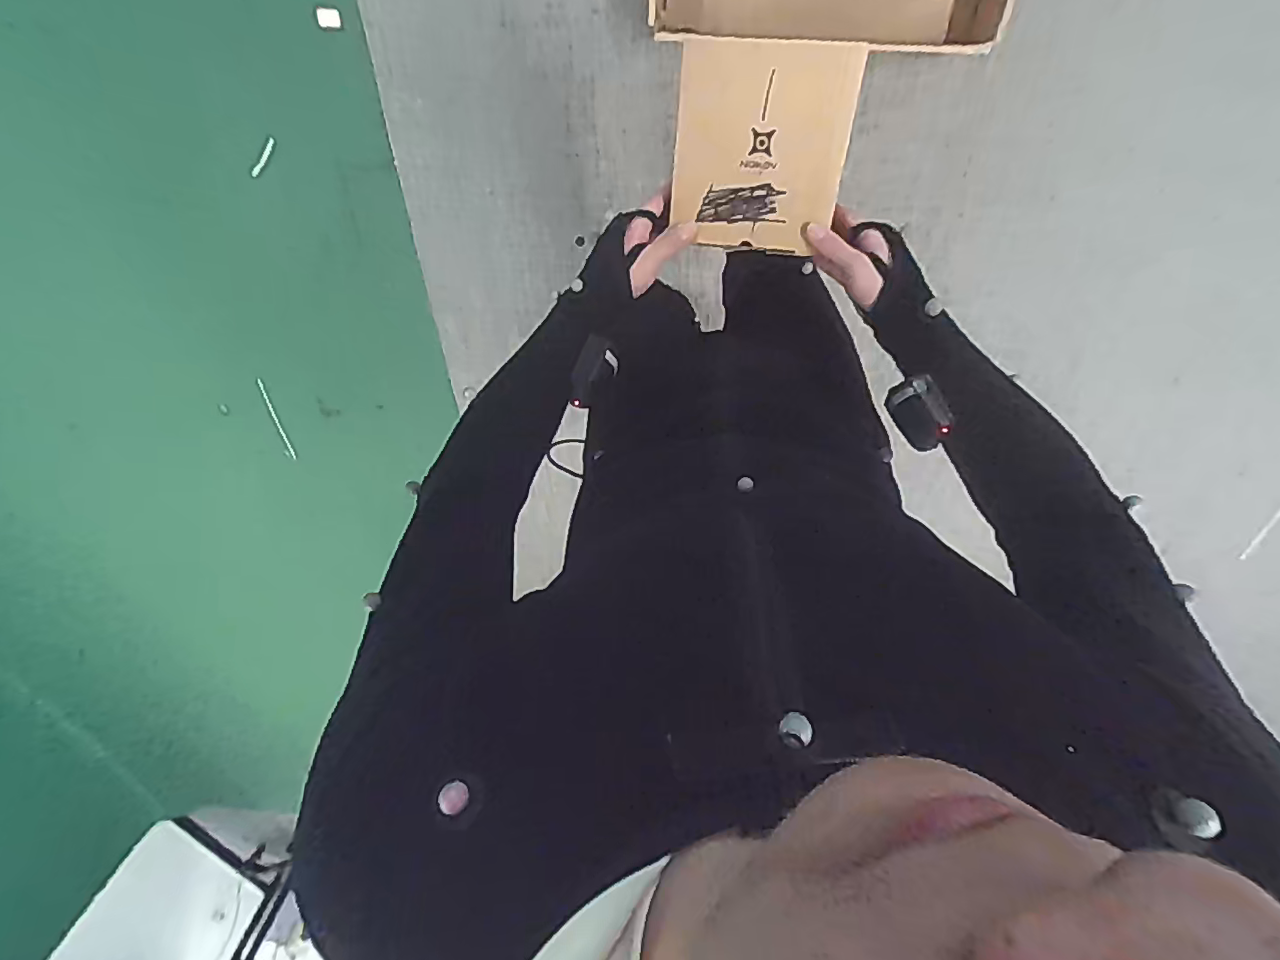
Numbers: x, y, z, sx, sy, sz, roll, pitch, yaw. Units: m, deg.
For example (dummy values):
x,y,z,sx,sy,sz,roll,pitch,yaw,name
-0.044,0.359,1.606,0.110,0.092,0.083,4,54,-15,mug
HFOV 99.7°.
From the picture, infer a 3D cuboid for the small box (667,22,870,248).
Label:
x,y,z,sx,sy,sz,roll,pitch,yaw,name
0.126,-0.361,0.585,0.168,0.176,0.179,7,119,5,small box
